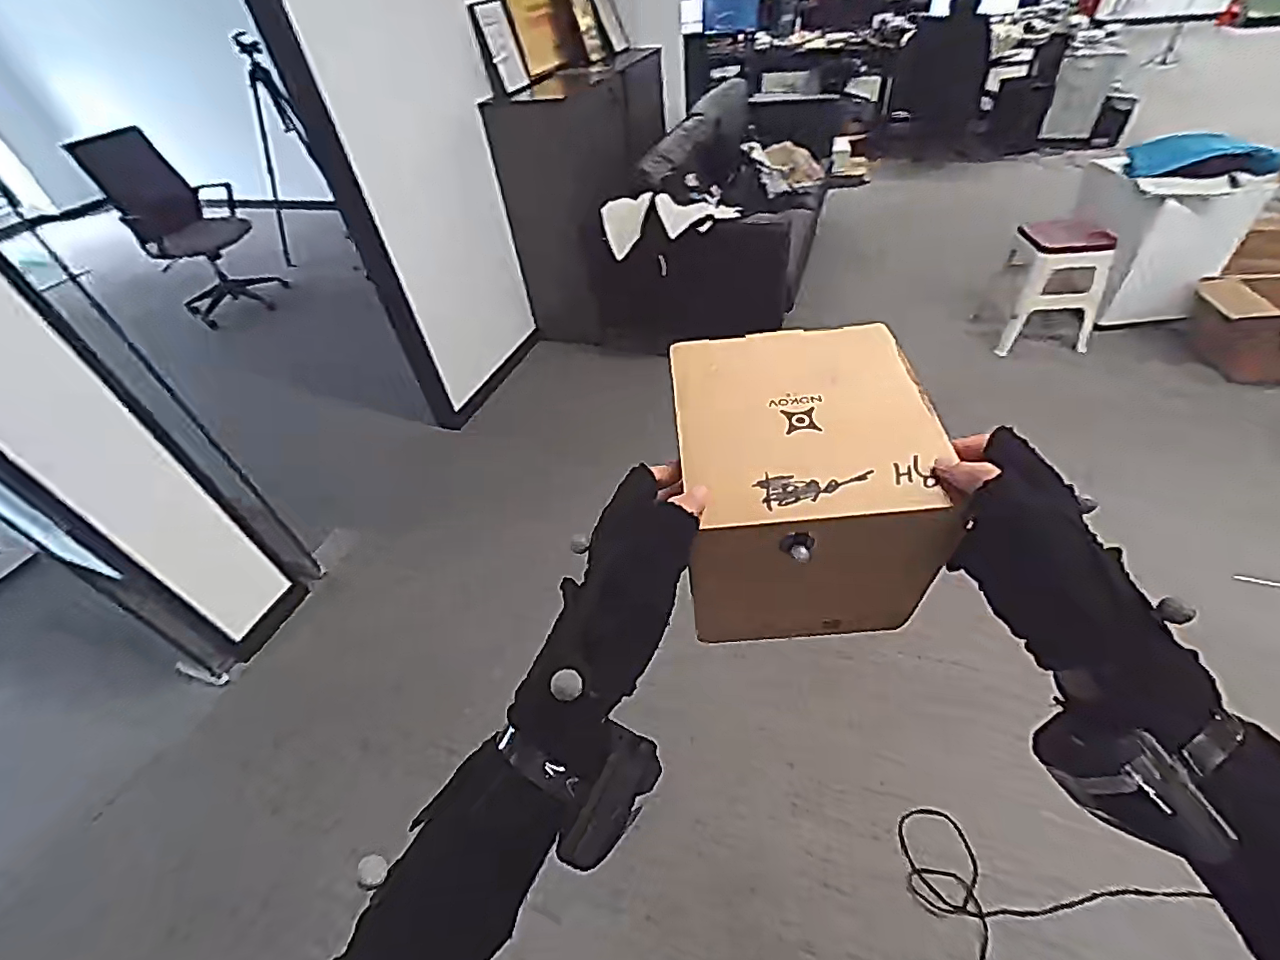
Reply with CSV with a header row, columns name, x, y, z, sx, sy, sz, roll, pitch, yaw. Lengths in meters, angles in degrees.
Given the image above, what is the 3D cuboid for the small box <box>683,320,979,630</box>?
name,x,y,z,sx,sy,sz,roll,pitch,yaw
small box,0.122,0.000,0.428,0.168,0.176,0.179,-5,50,5
